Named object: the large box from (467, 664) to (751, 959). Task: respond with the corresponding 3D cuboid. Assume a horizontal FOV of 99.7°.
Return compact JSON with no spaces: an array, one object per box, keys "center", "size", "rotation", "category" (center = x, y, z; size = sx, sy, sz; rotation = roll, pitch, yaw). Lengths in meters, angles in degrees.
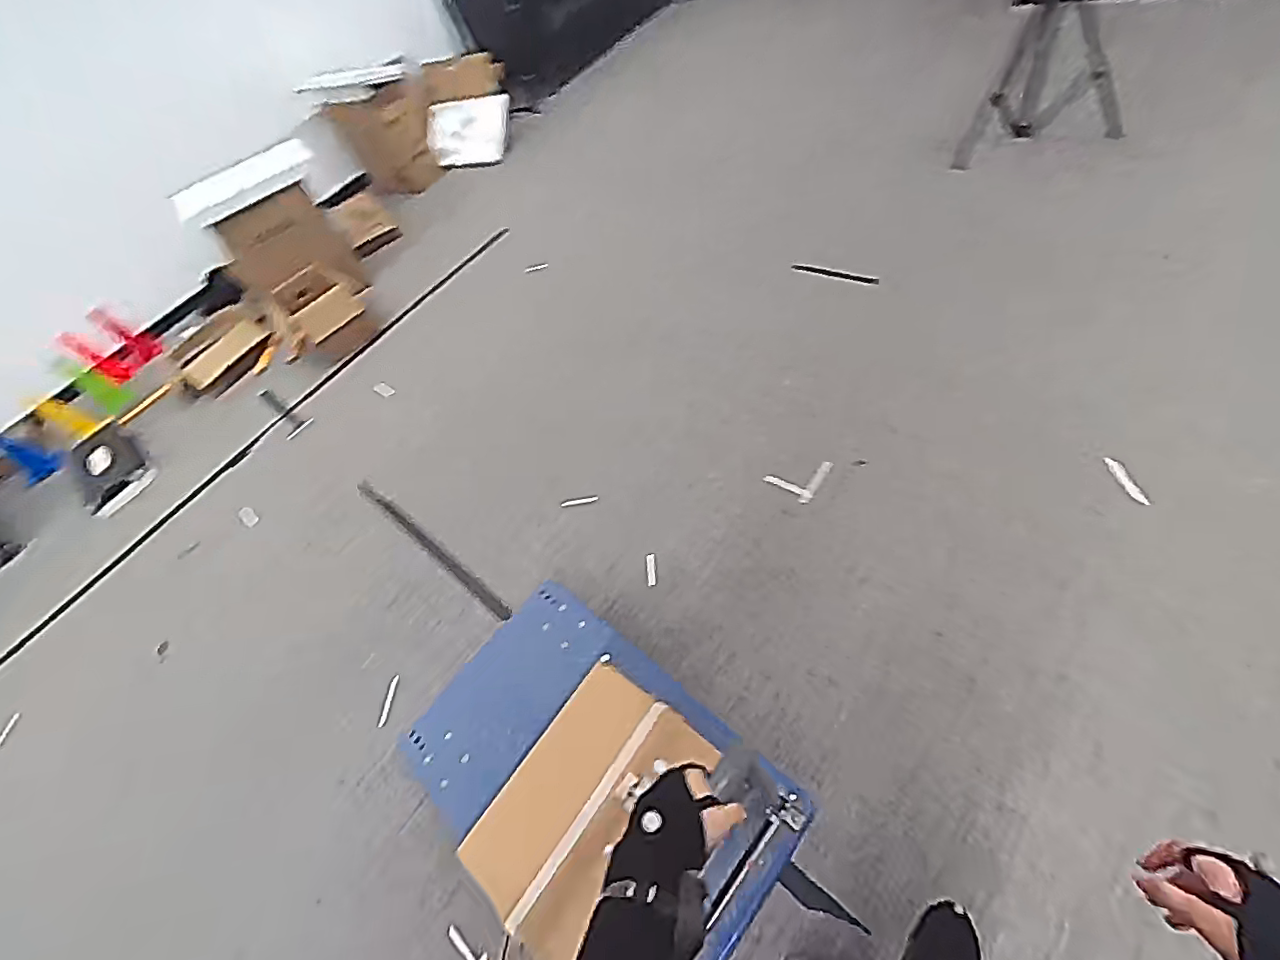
[{"center":[-0.034,0.649,1.033],"size":[0.320,0.320,0.408],"rotation":[28,67,32],"category":"large box"}]
